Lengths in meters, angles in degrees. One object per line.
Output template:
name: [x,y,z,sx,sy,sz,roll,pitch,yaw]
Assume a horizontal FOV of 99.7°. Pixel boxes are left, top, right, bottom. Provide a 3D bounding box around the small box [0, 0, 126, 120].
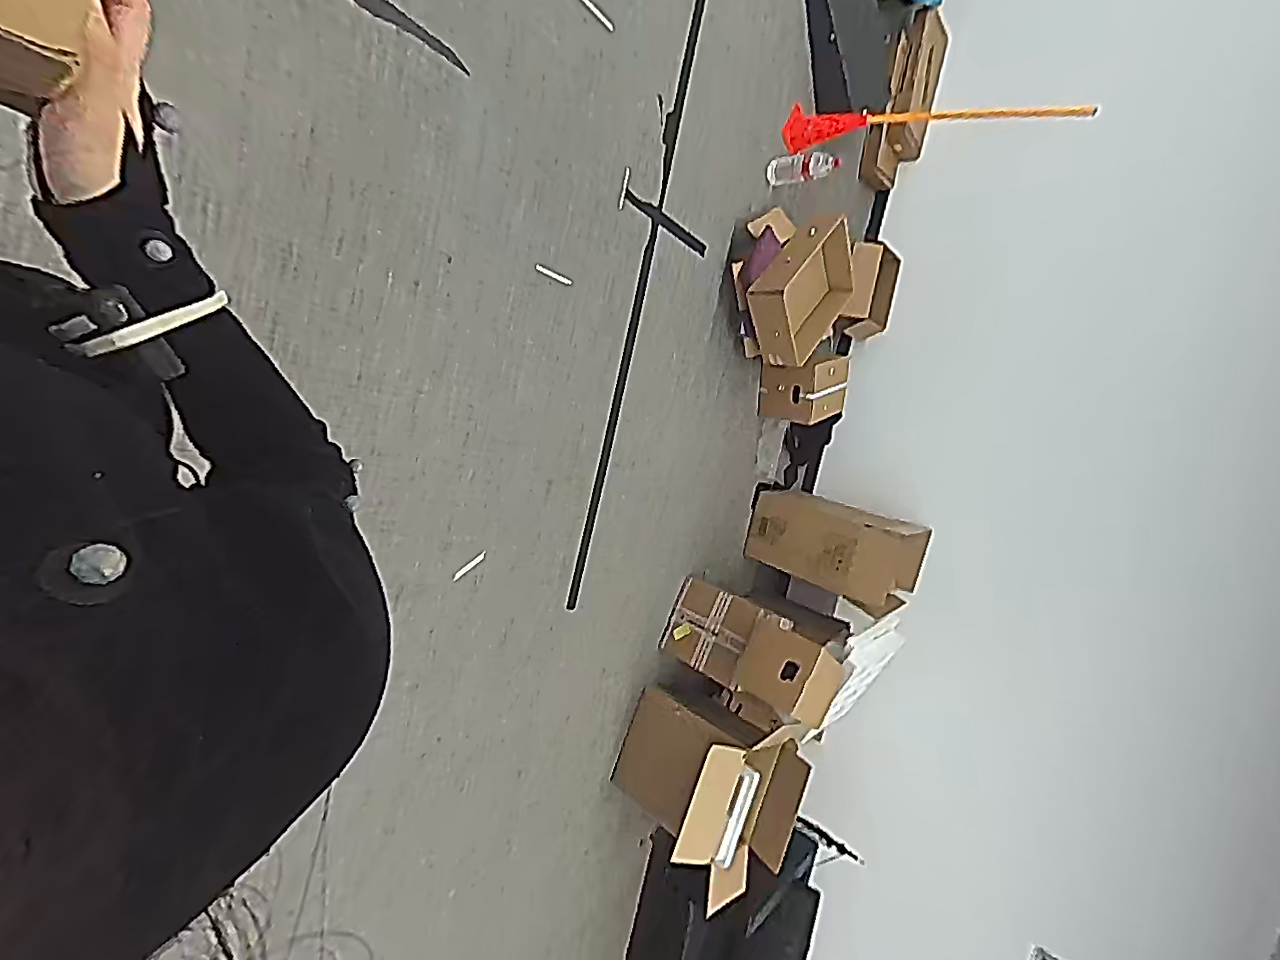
small box: [-0.304,-0.269,0.193,0.168,0.176,0.179,6,101,-53]
